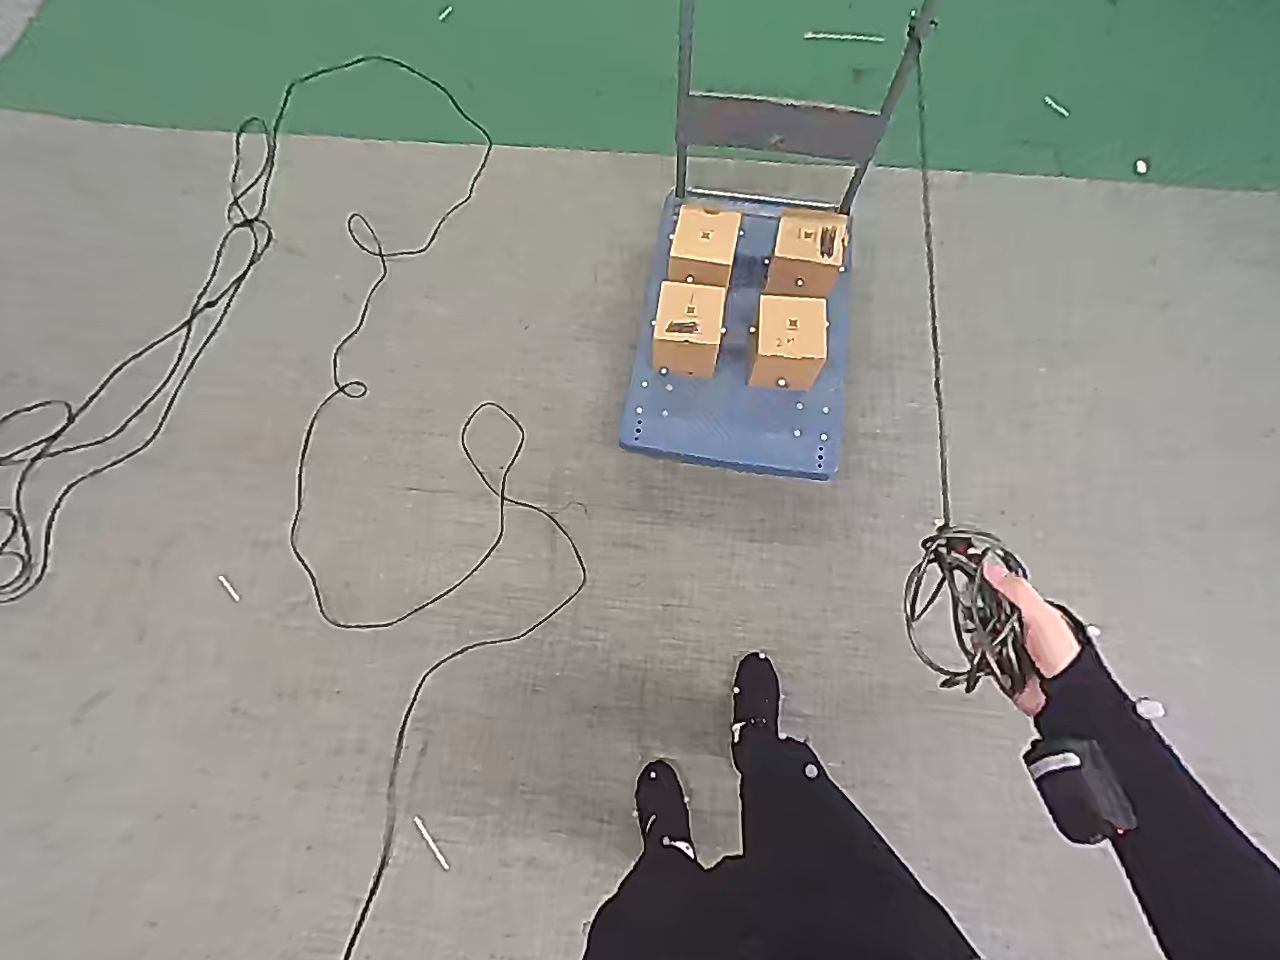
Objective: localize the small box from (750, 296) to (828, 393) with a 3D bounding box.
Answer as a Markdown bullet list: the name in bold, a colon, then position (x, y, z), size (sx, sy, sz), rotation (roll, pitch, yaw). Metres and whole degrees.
- **small box**: position (0.382, -0.349, 1.404), size (0.168, 0.176, 0.179), rotation (6, 72, 4)

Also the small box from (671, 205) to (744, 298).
- **small box**: position (0.182, -0.620, 1.500), size (0.168, 0.176, 0.179), rotation (11, 72, 5)

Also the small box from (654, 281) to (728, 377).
- **small box**: position (0.131, -0.390, 1.423), size (0.168, 0.176, 0.179), rotation (8, 71, 3)
